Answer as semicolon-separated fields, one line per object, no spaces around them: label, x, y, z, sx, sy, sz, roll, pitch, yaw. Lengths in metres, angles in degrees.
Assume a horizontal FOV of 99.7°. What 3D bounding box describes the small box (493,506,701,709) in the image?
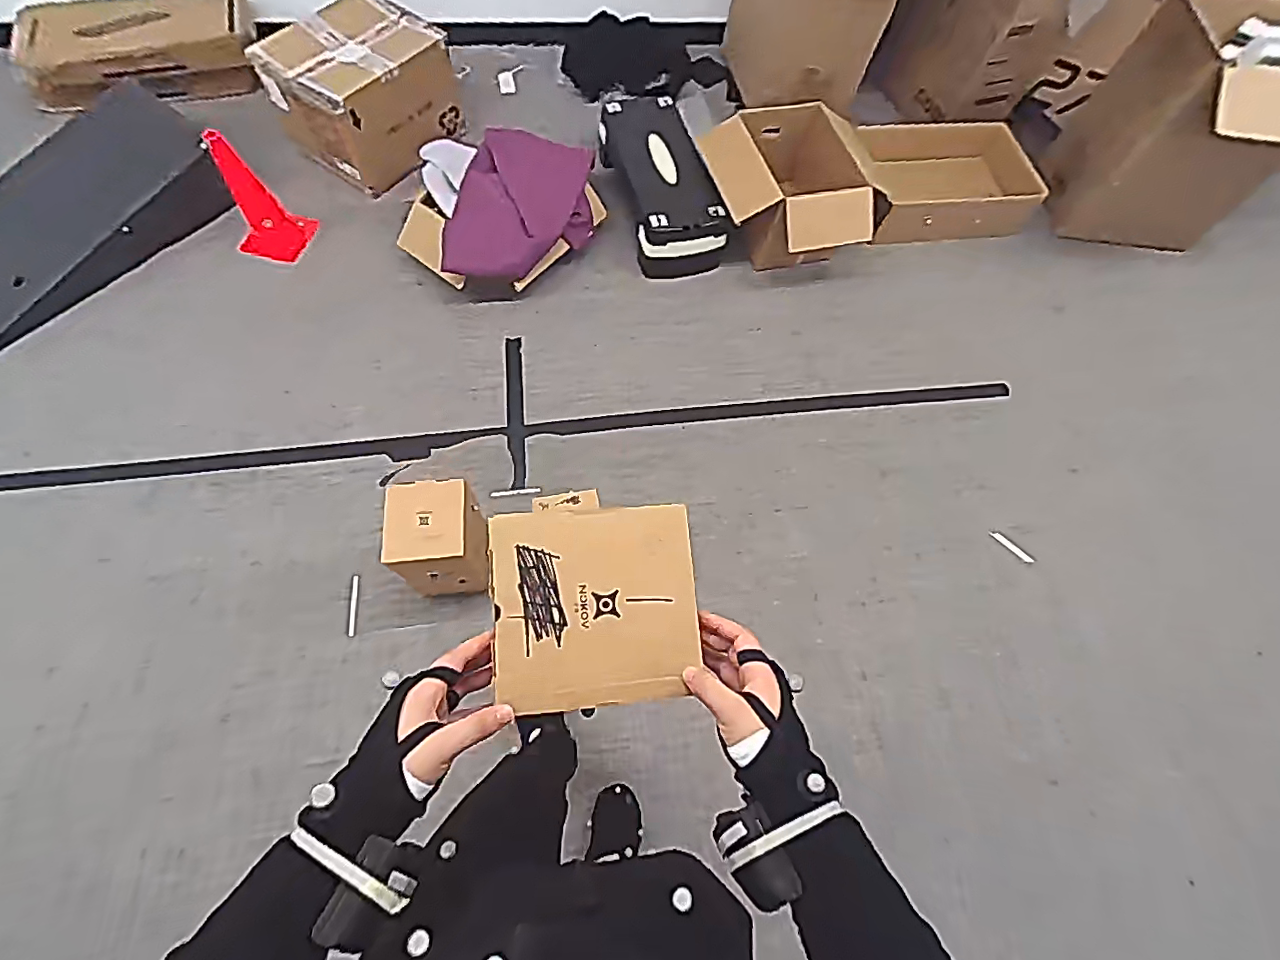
small box;-0.046;0.126;0.548;0.179;0.176;0.168;-3;77;-7

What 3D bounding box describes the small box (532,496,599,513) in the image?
small box;-0.179;0.159;1.400;0.168;0.176;0.179;-8;68;-8

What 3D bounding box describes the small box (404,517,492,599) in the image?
small box;-0.472;0.198;1.357;0.179;0.176;0.168;-4;66;-6

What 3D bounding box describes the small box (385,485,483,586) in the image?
small box;-0.453;0.127;1.212;0.168;0.176;0.179;-6;68;-6
